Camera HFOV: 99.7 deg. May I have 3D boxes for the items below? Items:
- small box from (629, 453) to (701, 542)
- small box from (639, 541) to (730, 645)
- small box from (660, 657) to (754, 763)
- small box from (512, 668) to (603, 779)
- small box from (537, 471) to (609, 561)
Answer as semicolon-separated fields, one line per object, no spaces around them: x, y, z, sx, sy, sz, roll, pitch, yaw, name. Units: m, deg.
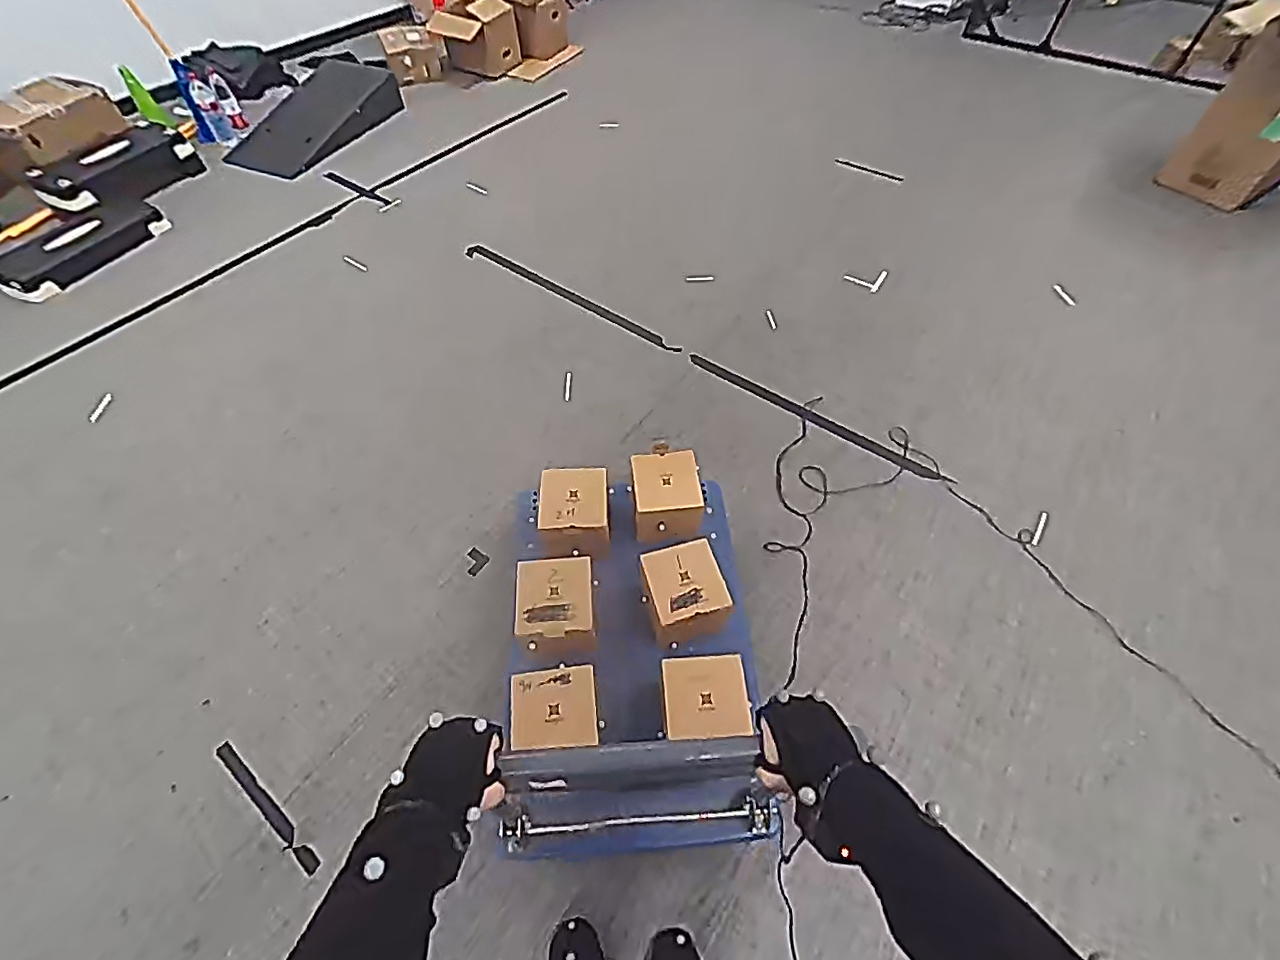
0.062;0.053;1.429;0.168;0.176;0.179;-6;55;-4;small box
0.098;0.274;1.274;0.168;0.176;0.179;-13;55;-10;small box
0.131;0.484;1.128;0.168;0.176;0.179;-2;54;-3;small box
-0.166;0.504;1.110;0.168;0.176;0.179;-6;56;-6;small box
-0.167;0.095;1.395;0.168;0.176;0.179;-2;56;-2;small box
